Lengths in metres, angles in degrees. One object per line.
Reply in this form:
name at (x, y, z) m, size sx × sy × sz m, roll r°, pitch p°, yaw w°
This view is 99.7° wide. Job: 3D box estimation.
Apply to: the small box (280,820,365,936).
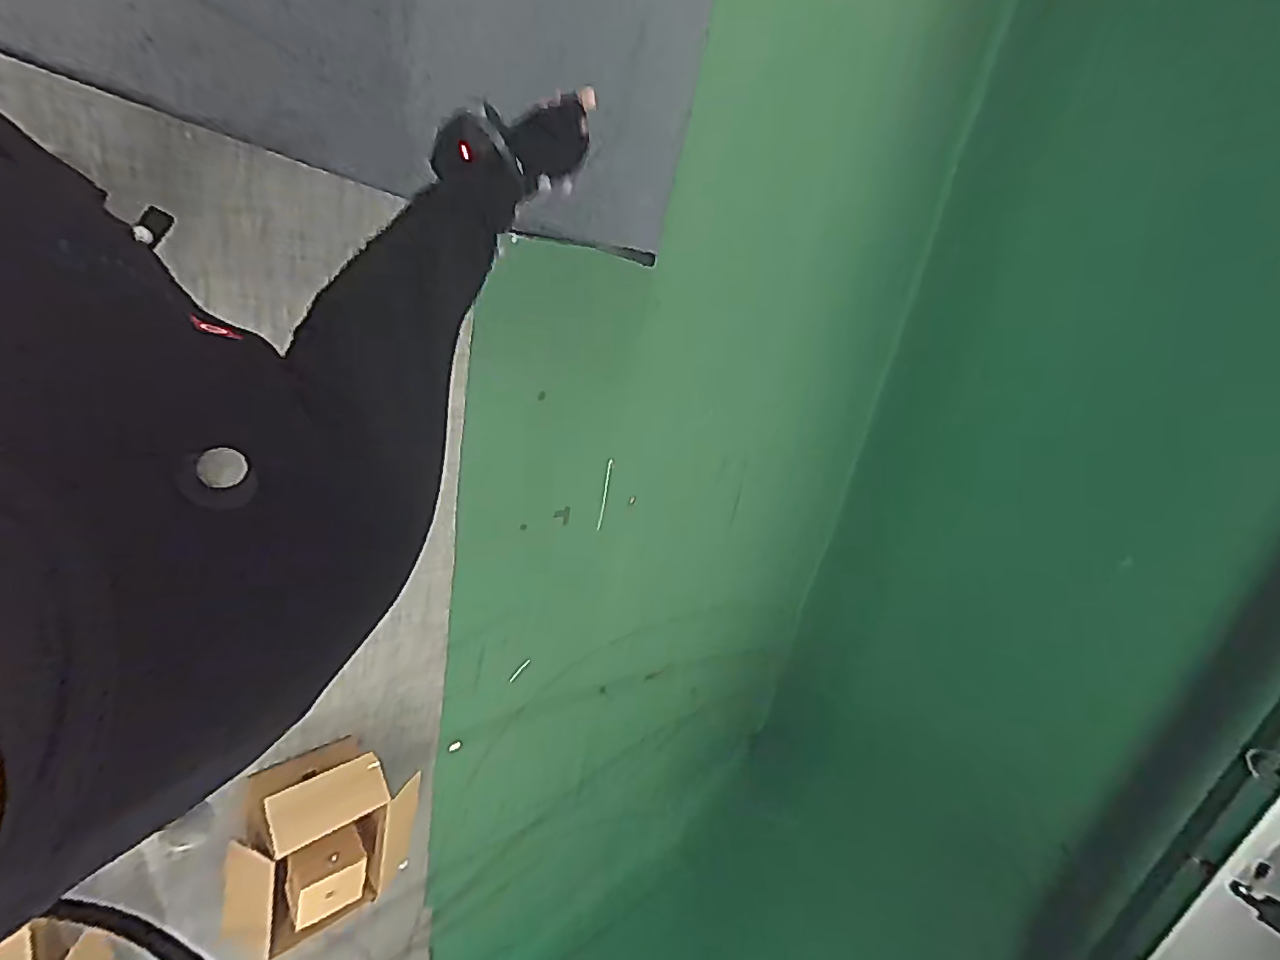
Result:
small box at (-0.930, 1.150, 1.578) m, size 0.179 × 0.176 × 0.168 m, roll -3°, pitch 114°, yaw -47°
